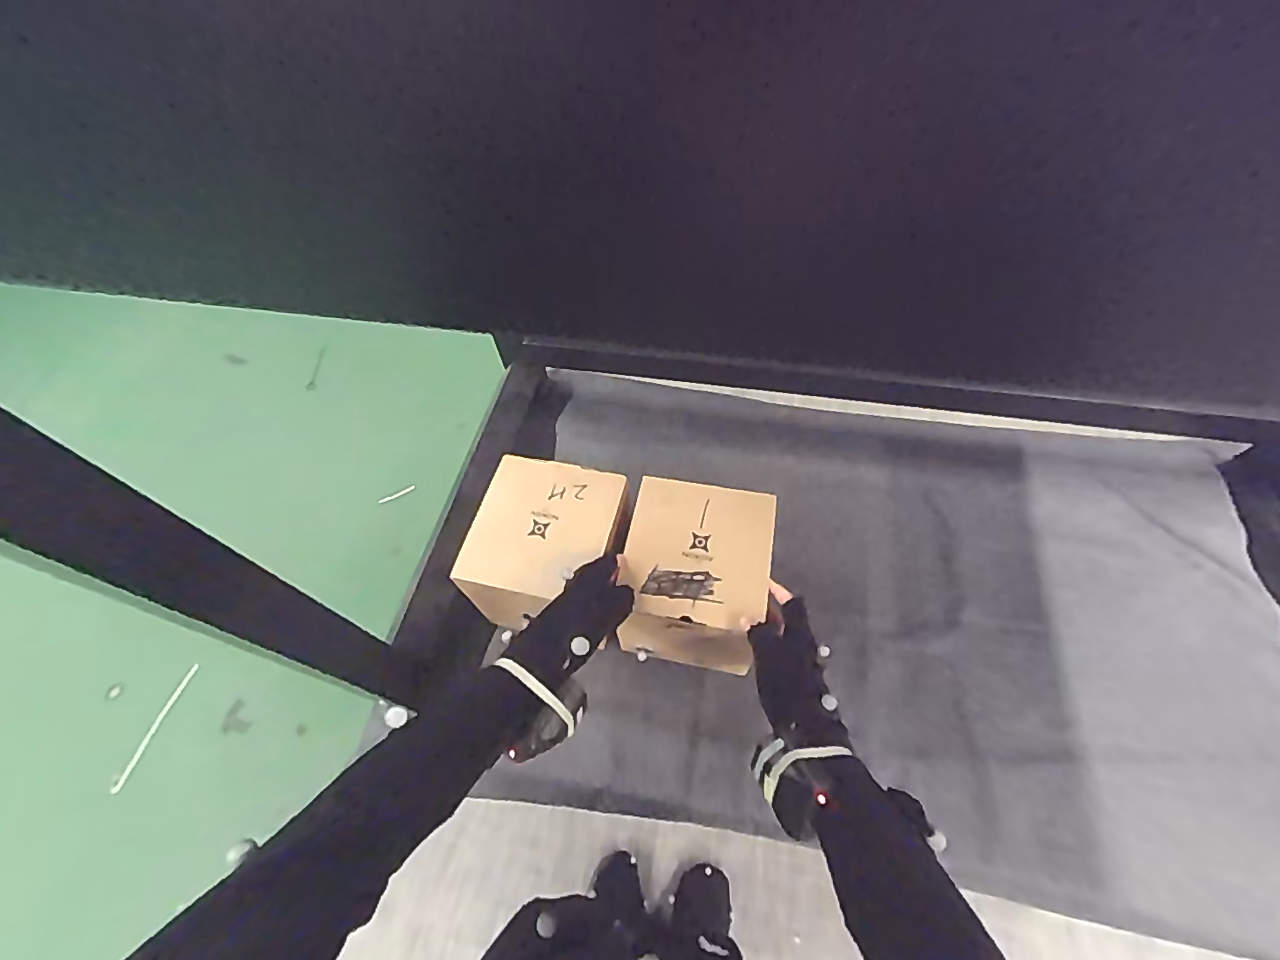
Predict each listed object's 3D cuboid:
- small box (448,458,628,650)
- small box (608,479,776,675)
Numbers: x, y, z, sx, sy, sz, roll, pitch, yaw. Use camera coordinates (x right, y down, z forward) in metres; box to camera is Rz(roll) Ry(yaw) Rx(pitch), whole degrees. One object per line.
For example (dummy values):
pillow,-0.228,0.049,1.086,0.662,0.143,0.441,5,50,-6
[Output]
small box,-0.111,0.101,0.696,0.168,0.176,0.179,11,58,9
small box,0.068,0.125,0.669,0.168,0.176,0.179,9,57,9
